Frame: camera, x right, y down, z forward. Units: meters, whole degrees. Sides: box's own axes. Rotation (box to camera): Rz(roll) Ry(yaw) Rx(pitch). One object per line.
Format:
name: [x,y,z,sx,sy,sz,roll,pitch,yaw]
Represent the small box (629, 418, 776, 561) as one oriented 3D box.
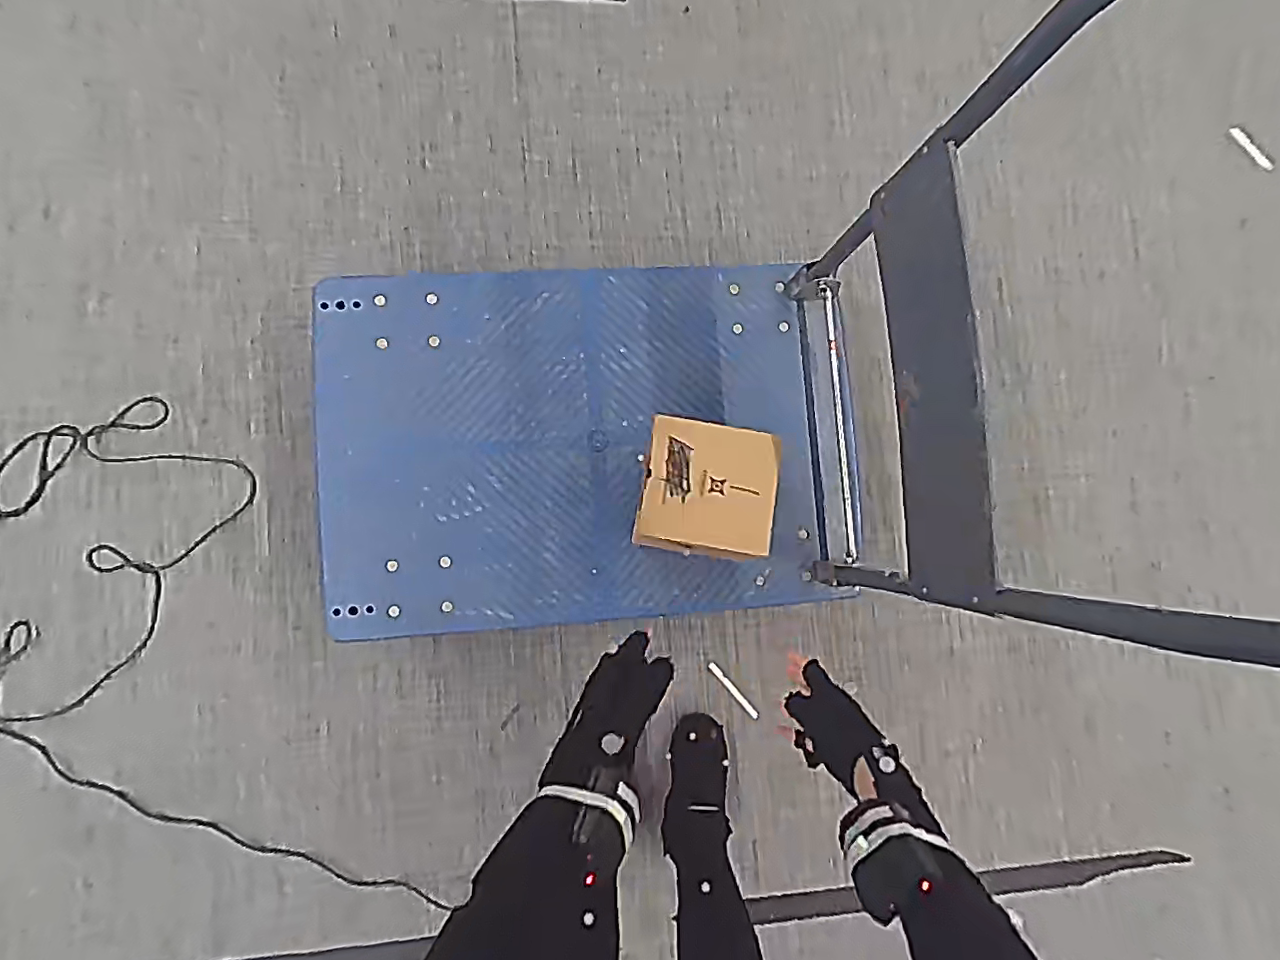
small box: [0.083,0.023,0.790,0.179,0.176,0.168,10,79,1]
